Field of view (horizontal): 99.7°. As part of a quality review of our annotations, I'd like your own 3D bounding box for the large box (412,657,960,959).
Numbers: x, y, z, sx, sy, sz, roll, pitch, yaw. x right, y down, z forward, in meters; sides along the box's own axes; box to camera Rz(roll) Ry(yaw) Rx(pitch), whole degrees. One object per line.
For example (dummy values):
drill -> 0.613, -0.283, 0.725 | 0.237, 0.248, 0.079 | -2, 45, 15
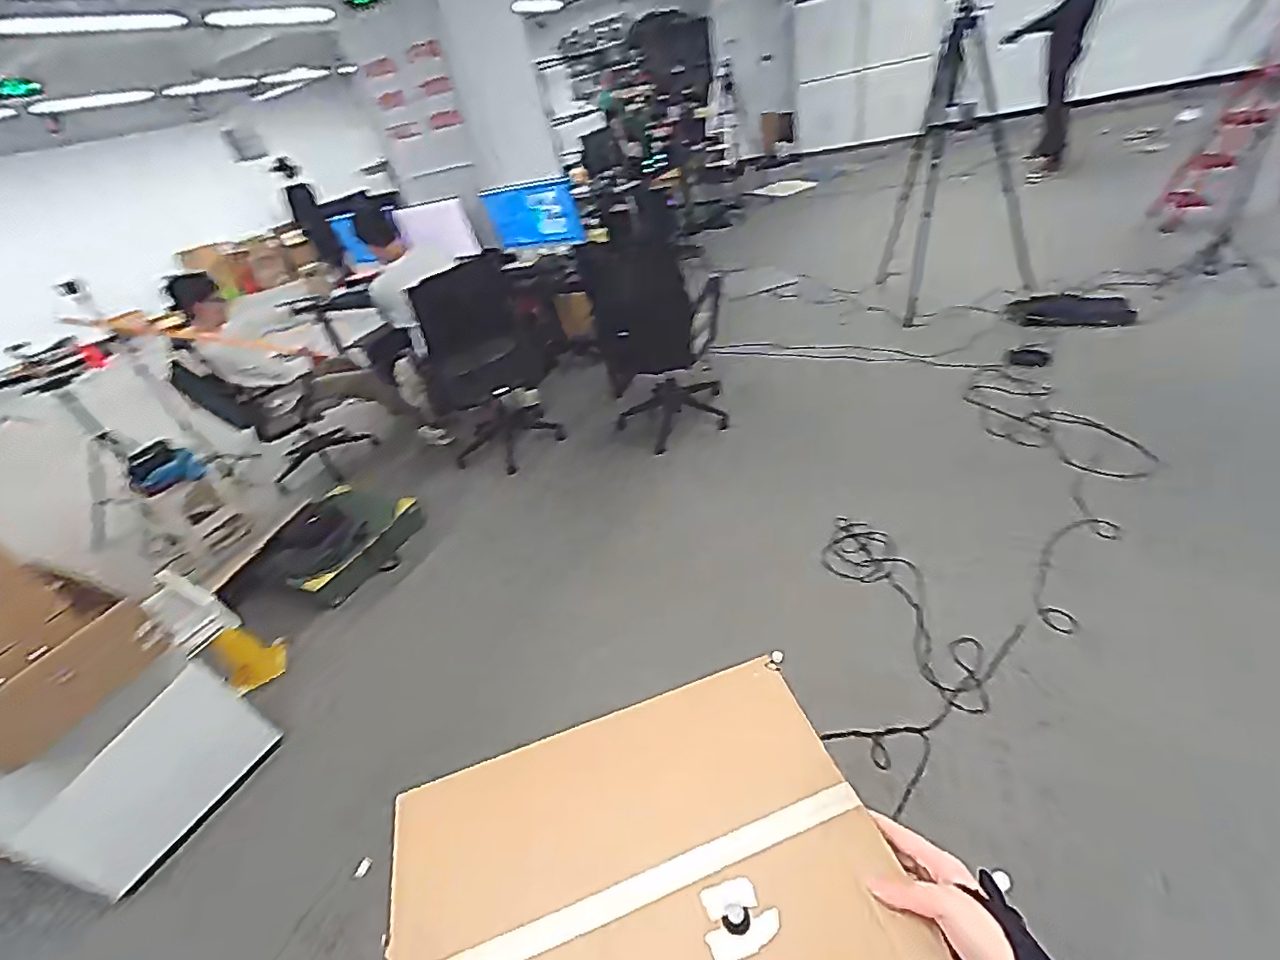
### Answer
large box -> 0.024, 0.454, 0.545 | 0.408, 0.320, 0.320 | -16, 38, -10
